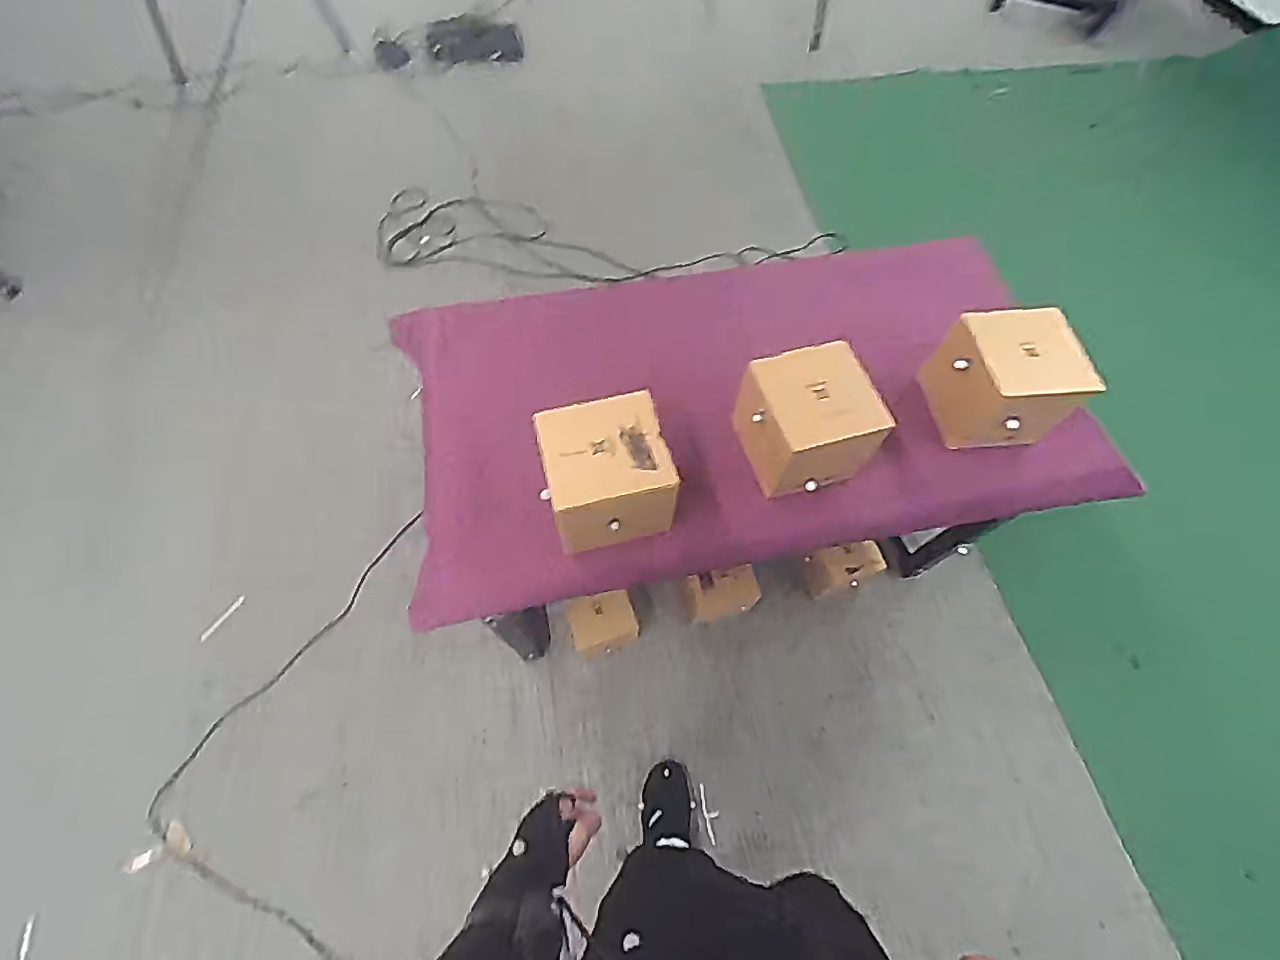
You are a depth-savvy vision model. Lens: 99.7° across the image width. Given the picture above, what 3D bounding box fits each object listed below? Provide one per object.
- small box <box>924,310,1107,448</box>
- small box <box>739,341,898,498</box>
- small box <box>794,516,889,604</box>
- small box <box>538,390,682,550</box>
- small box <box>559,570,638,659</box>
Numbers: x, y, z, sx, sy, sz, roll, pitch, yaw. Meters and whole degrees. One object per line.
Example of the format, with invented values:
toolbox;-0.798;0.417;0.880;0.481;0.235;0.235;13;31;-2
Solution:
small box;0.630;-0.166;0.934;0.168;0.176;0.179;-4;62;-3
small box;0.274;-0.094;0.883;0.168;0.176;0.179;-13;64;-8
small box;0.563;0.231;1.543;0.168;0.176;0.179;-15;64;-10
small box;-0.048;-0.010;0.824;0.179;0.176;0.168;-12;62;-8
small box;-0.109;0.366;1.447;0.168;0.176;0.179;-17;65;-10
